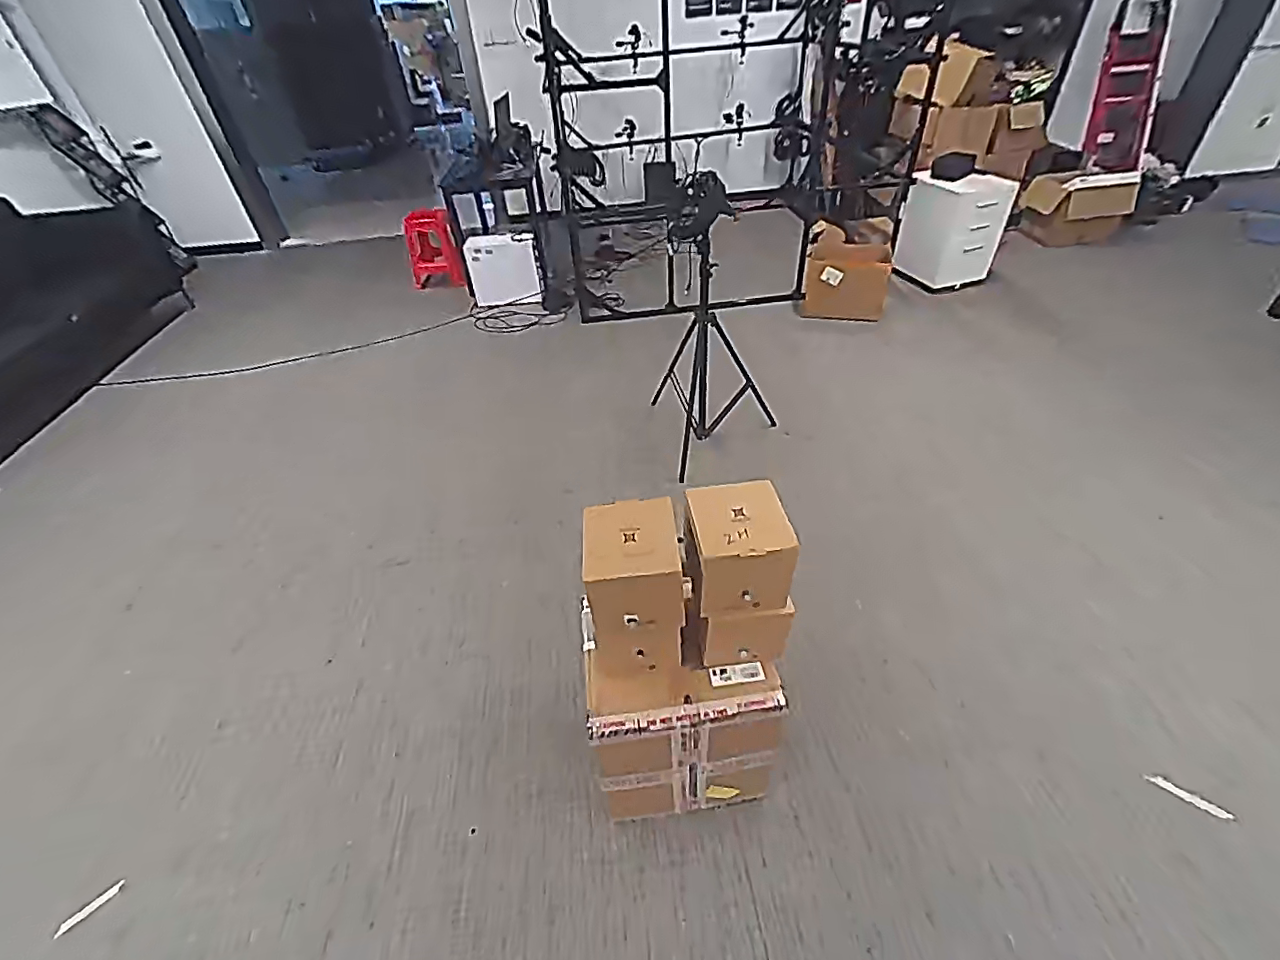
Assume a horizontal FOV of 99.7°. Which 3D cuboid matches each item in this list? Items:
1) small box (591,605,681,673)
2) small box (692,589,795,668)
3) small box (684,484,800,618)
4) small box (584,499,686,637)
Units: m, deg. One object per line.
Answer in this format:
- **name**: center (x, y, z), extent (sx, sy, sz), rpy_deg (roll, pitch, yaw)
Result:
- **small box**: center (-0.007, 0.279, 1.103), extent (0.168, 0.176, 0.179), rpy_deg (-6, 43, 0)
- **small box**: center (0.201, 0.260, 1.108), extent (0.168, 0.176, 0.179), rpy_deg (-5, 43, -2)
- **small box**: center (0.178, 0.131, 1.006), extent (0.168, 0.176, 0.179), rpy_deg (-6, 42, -4)
- **small box**: center (-0.009, 0.161, 0.988), extent (0.168, 0.176, 0.179), rpy_deg (-8, 43, 1)
